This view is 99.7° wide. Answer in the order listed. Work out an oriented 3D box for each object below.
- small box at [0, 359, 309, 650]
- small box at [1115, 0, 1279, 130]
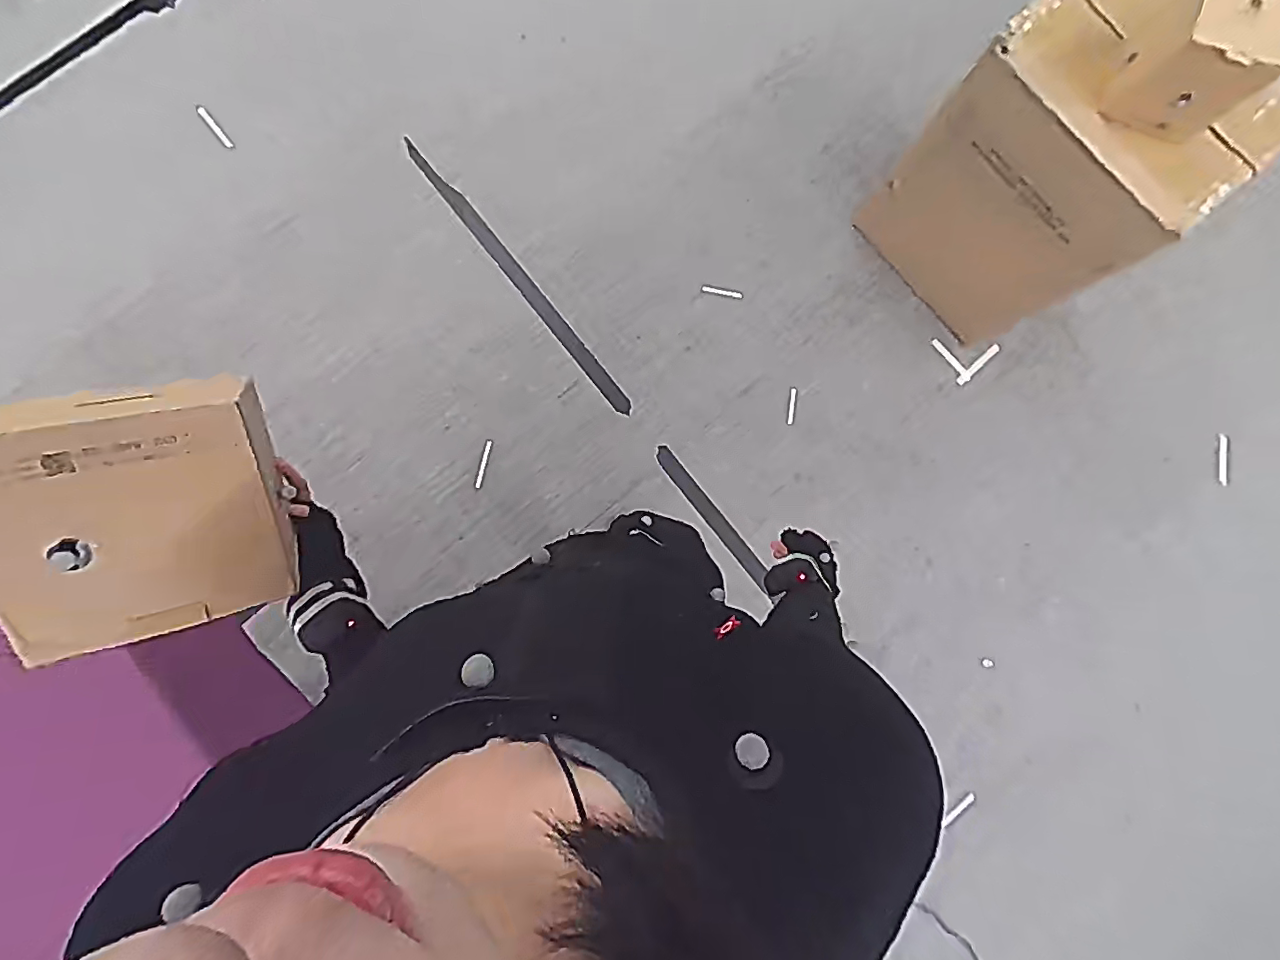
[{"bbox_3d":[-0.390,0.001,0.450,0.168,0.179,0.176,-13,115,-27],"label":"small box"},{"bbox_3d":[0.978,-0.752,0.929,0.168,0.176,0.179,20,86,1],"label":"small box"}]
